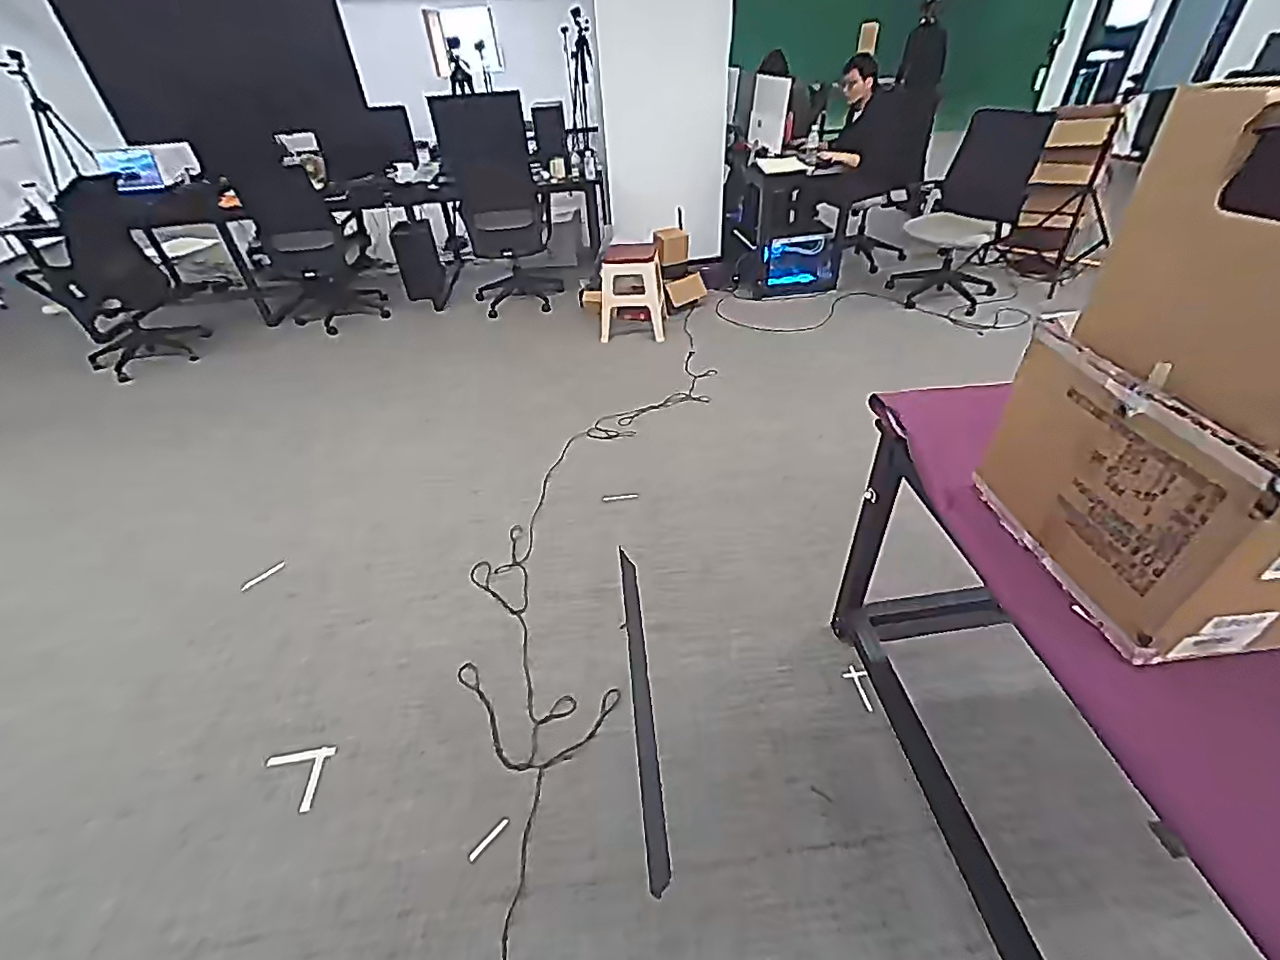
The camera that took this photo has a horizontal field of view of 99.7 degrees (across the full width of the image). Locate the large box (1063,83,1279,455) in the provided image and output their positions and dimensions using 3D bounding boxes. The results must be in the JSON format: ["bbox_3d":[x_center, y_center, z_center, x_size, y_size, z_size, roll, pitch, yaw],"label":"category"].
[{"bbox_3d":[0.809,-0.251,0.588,0.408,0.320,0.320,-6,35,-1],"label":"large box"}]
